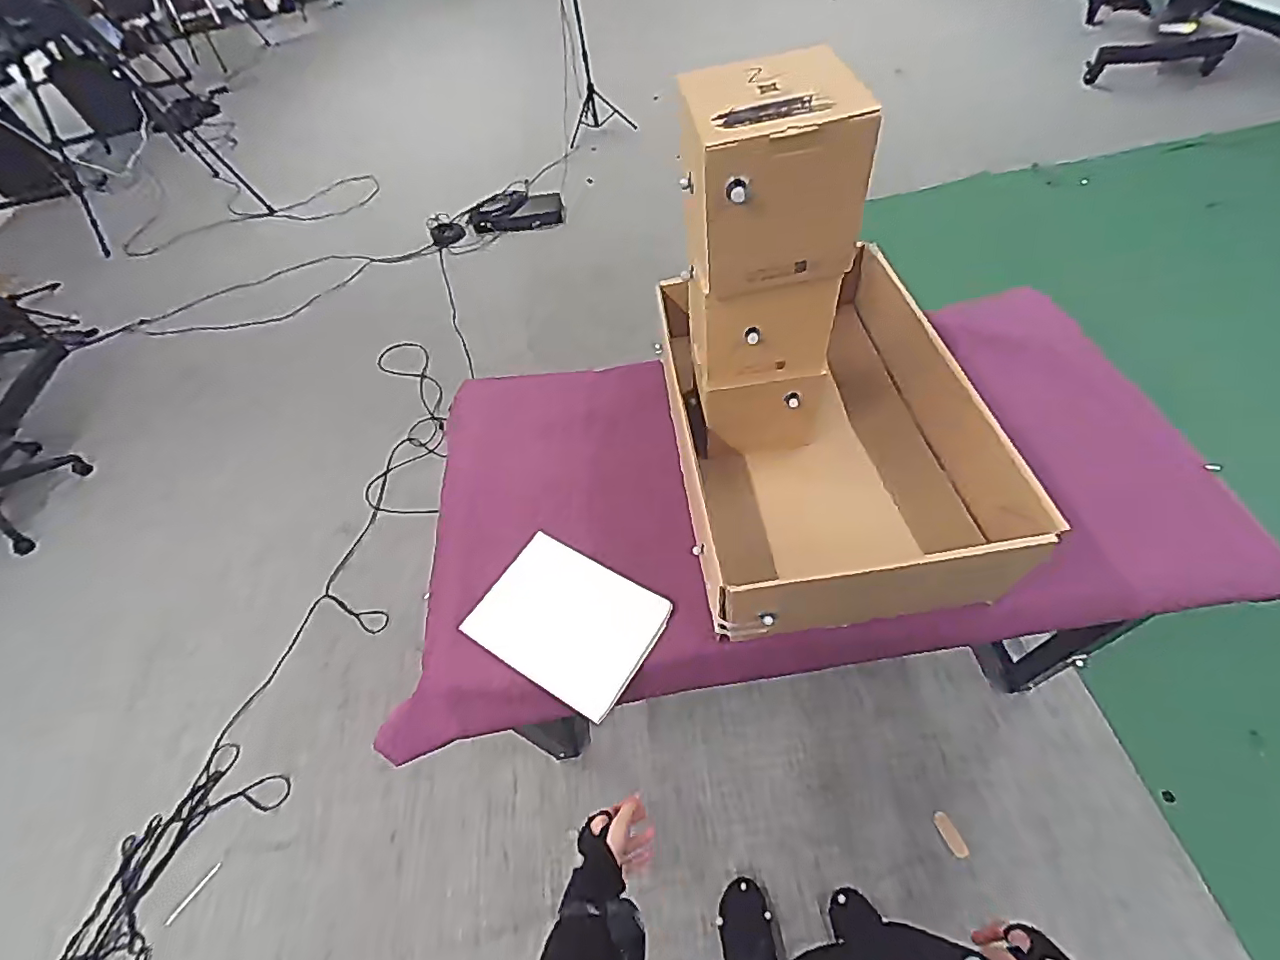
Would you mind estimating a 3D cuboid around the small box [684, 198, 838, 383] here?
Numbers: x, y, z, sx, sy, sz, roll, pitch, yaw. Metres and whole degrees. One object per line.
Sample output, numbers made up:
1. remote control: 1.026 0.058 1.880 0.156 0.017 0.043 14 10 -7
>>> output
1. small box: 0.158 -0.250 0.746 0.168 0.176 0.179 -9 54 4
